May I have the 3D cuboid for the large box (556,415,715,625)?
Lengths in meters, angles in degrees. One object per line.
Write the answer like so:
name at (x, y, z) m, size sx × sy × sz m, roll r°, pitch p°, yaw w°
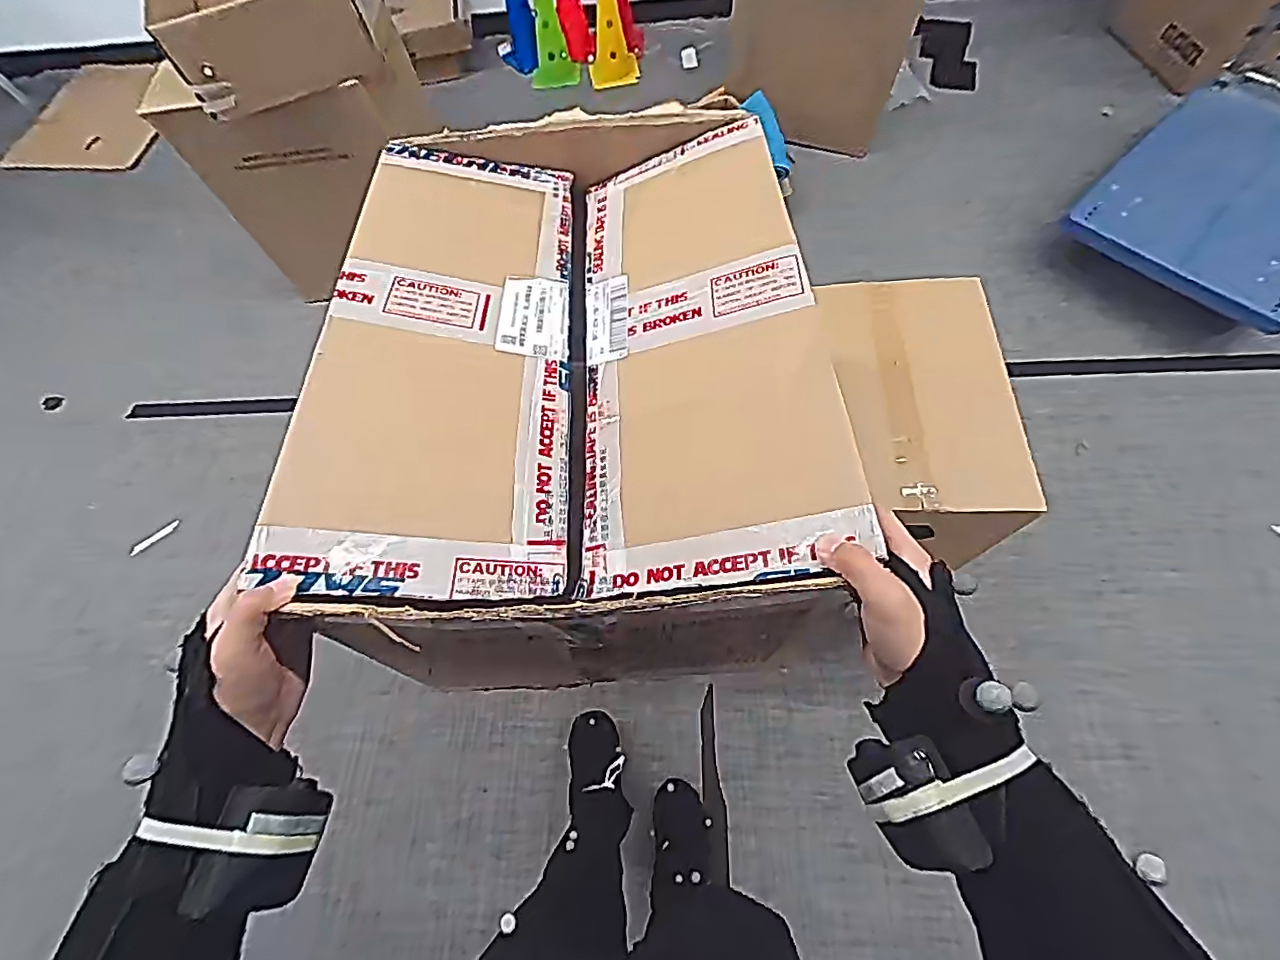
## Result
large box at (-0.007, 0.104, 1.244) m, size 0.320 × 0.320 × 0.408 m, roll -3°, pitch 66°, yaw 4°
